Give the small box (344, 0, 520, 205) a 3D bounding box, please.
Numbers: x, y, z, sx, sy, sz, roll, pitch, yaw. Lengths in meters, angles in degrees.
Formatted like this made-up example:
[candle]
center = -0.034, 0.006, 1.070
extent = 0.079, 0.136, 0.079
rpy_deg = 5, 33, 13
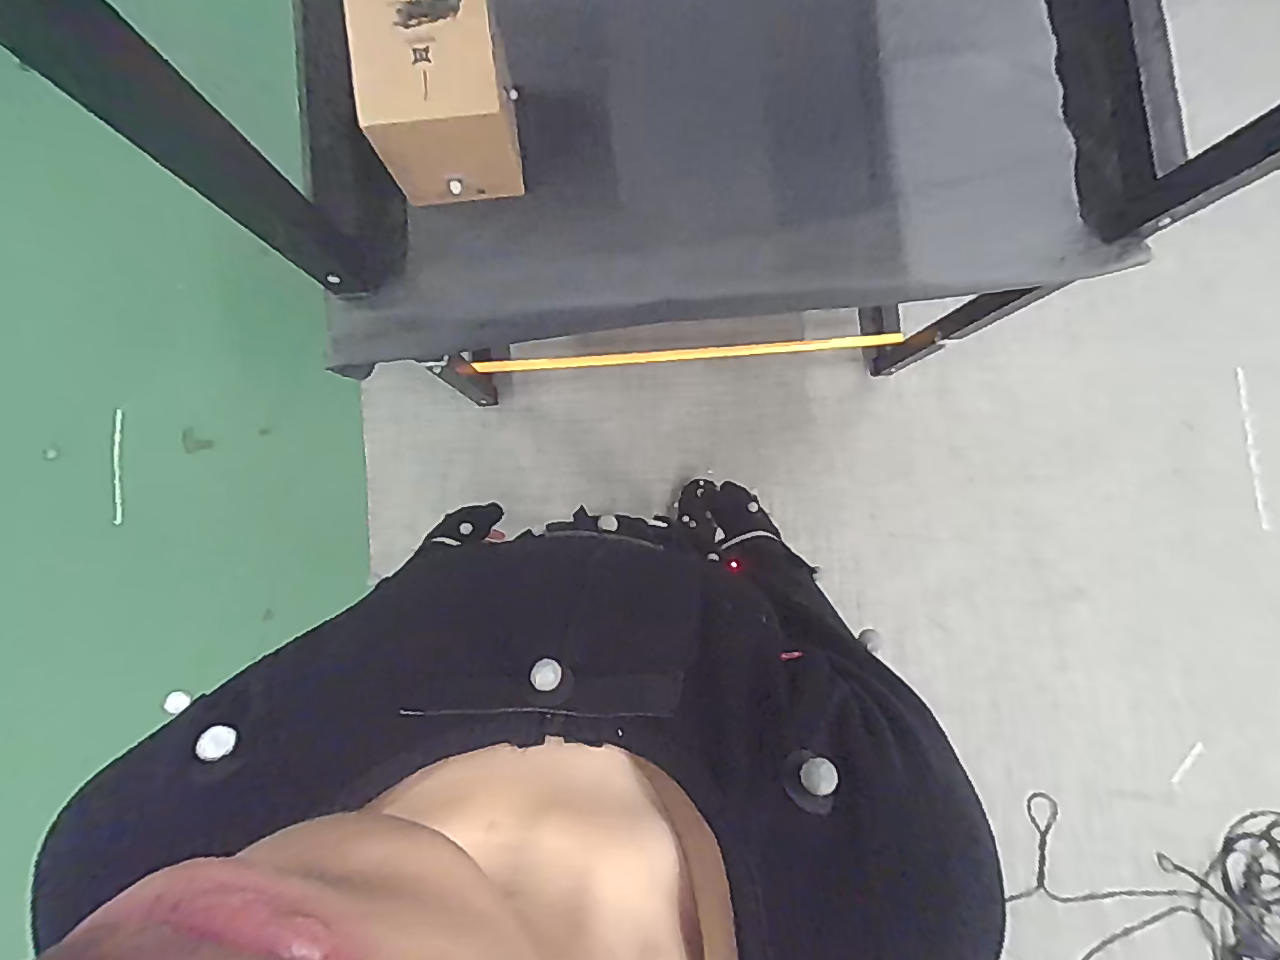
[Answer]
[small box]
center = -0.260, -0.495, 0.708
extent = 0.168, 0.176, 0.179
rpy_deg = -7, 87, -2
